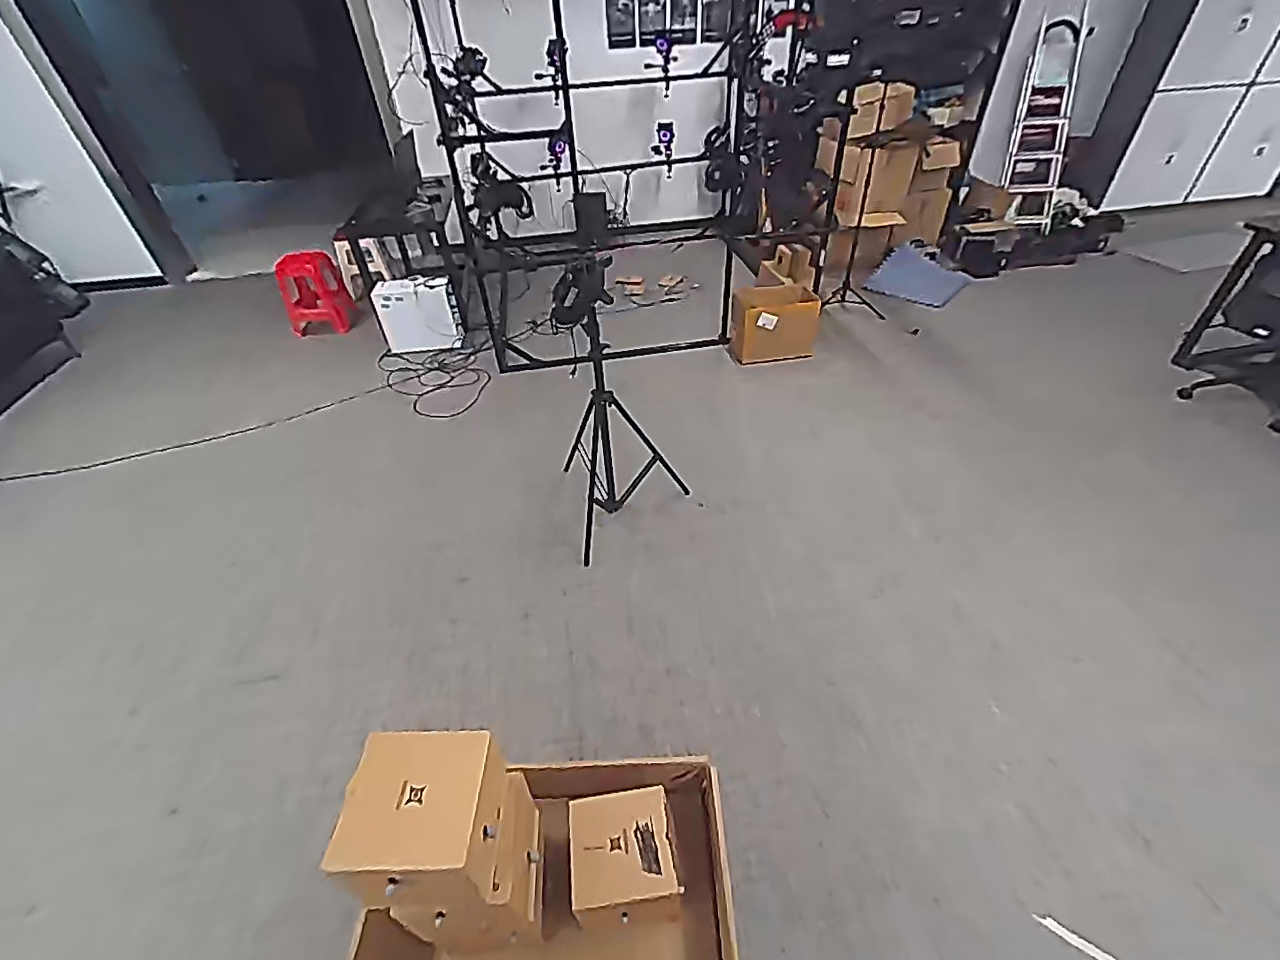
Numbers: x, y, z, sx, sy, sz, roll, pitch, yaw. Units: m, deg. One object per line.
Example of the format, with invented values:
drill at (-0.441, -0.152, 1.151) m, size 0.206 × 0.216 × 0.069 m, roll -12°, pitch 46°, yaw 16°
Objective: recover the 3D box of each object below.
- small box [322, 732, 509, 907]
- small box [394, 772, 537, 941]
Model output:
small box at (-0.288, 0.468, 0.748) m, size 0.179 × 0.176 × 0.168 m, roll -2°, pitch 40°, yaw 0°
small box at (-0.260, 0.592, 0.853) m, size 0.168 × 0.176 × 0.179 m, roll -3°, pitch 40°, yaw -2°
